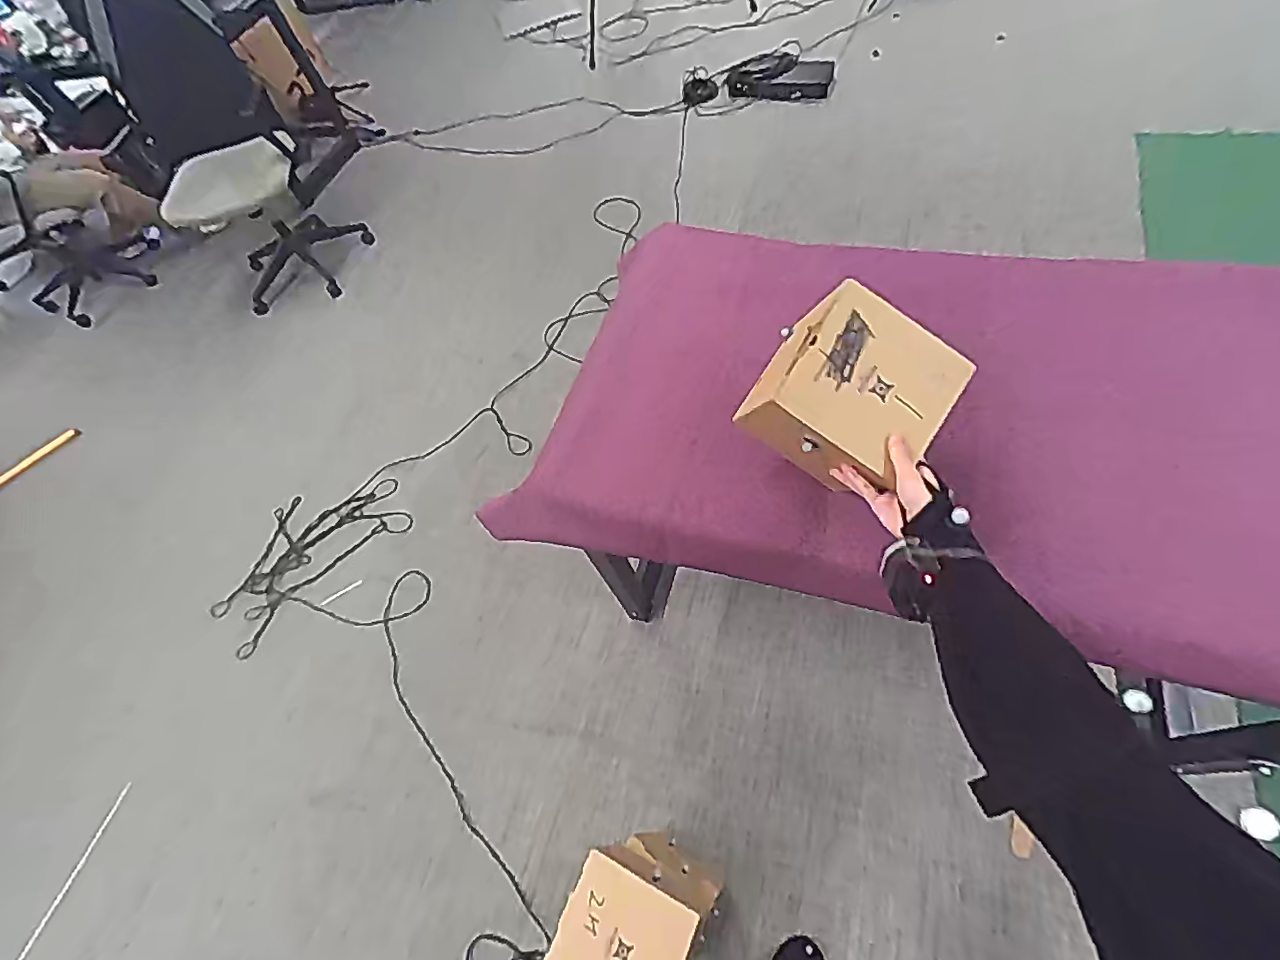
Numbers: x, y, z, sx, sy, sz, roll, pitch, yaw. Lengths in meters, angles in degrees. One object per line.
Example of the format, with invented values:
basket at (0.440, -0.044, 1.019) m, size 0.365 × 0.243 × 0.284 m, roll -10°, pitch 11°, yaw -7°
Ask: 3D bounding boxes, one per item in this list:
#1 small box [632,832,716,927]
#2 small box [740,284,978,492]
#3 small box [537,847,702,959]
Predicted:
small box at (0.040, 0.830, 1.070) m, size 0.168 × 0.176 × 0.179 m, roll 26°, pitch 68°, yaw 25°
small box at (0.250, -0.098, 0.664) m, size 0.179 × 0.176 × 0.168 m, roll 35°, pitch 87°, yaw -6°
small box at (-0.020, 0.666, 0.793) m, size 0.179 × 0.176 × 0.168 m, roll 18°, pitch 64°, yaw 23°
